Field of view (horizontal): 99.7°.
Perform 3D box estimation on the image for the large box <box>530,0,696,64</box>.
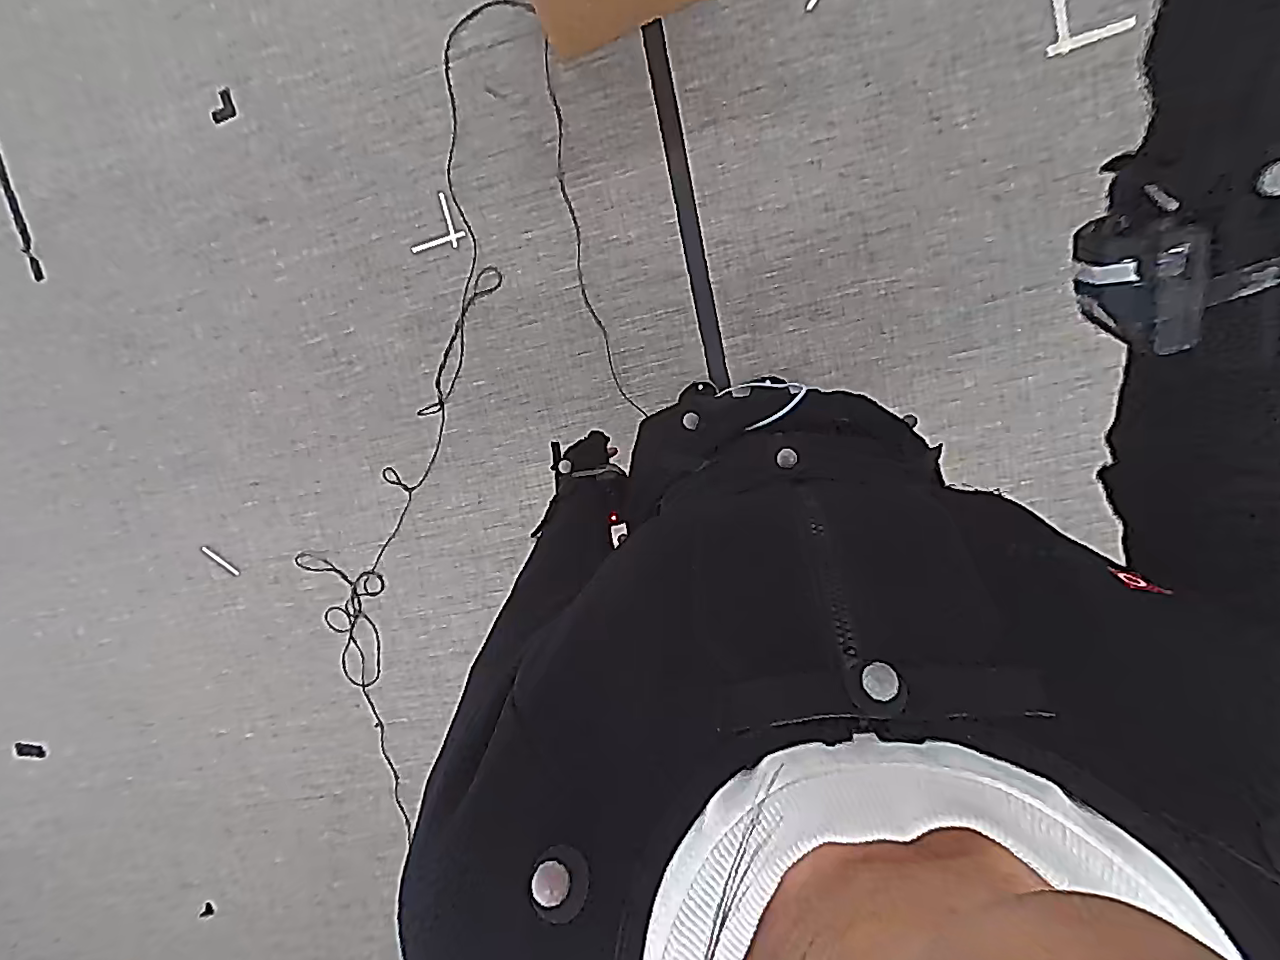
[{"bbox_3d":[-0.080,-1.174,1.110,0.408,0.320,0.320,-18,99,9],"label":"large box"}]
